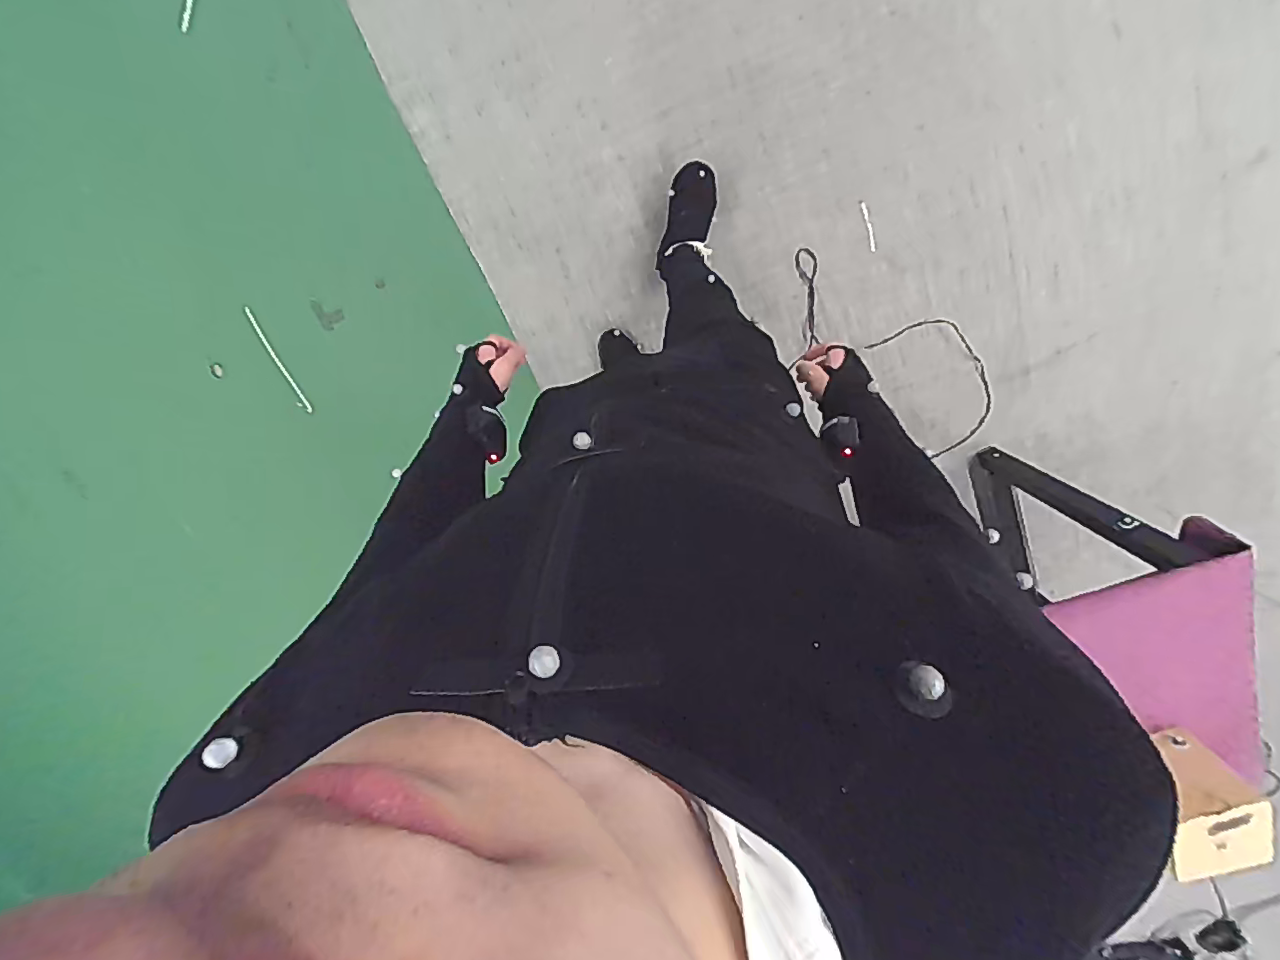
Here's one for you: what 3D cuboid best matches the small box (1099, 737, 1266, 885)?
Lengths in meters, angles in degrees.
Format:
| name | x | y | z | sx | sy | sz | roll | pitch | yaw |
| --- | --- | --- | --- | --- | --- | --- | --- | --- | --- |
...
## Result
| name | x | y | z | sx | sy | sz | roll | pitch | yaw |
| --- | --- | --- | --- | --- | --- | --- | --- | --- | --- |
| small box | 1.045 | 0.633 | 1.055 | 0.168 | 0.176 | 0.179 | -22 | 110 | 9 |
